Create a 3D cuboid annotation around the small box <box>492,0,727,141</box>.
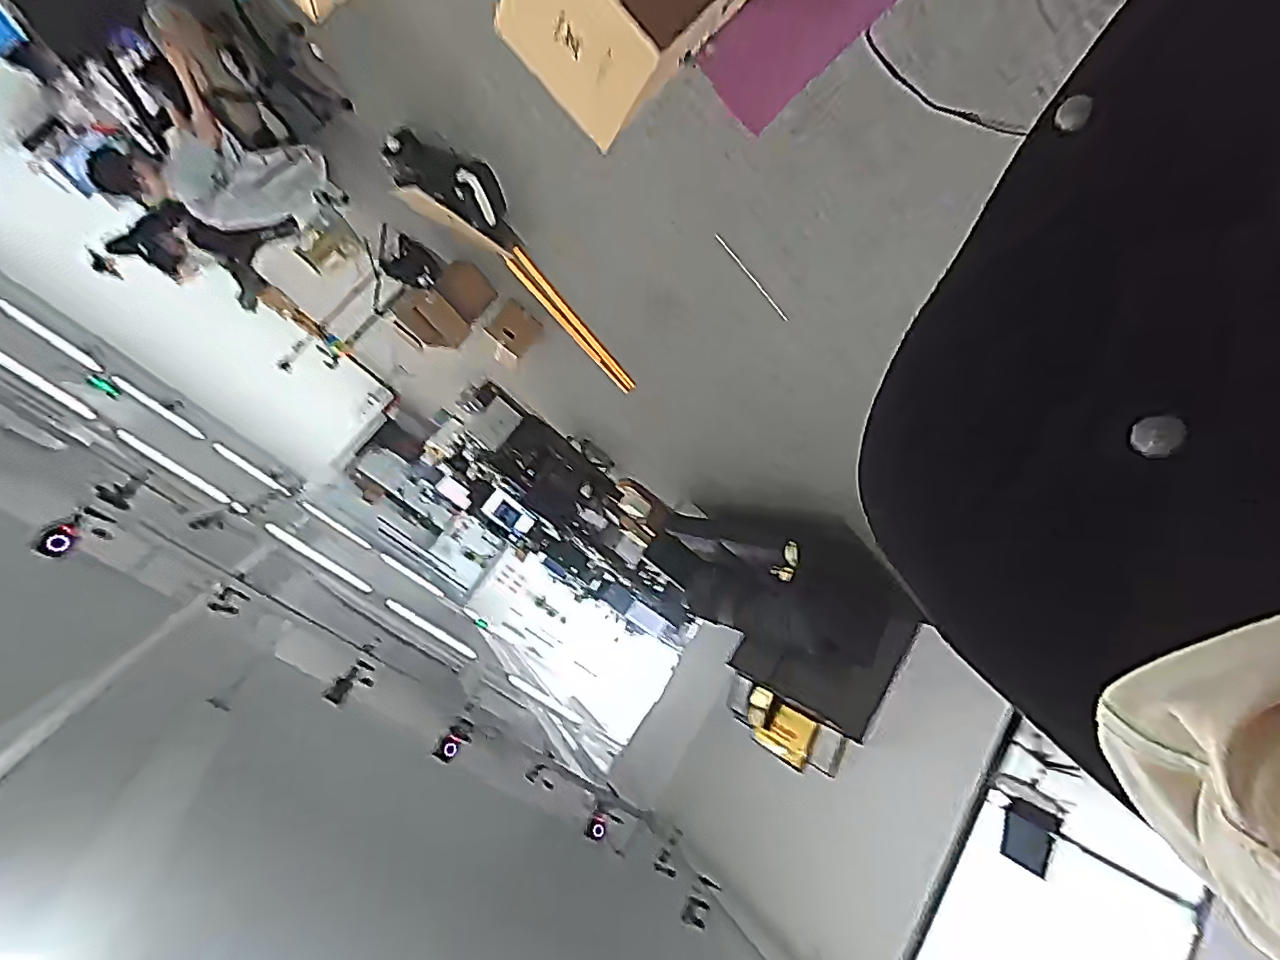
[{"bbox_3d":[-0.025,-0.527,0.580,0.179,0.176,0.168,42,164,-19],"label":"small box"}]
